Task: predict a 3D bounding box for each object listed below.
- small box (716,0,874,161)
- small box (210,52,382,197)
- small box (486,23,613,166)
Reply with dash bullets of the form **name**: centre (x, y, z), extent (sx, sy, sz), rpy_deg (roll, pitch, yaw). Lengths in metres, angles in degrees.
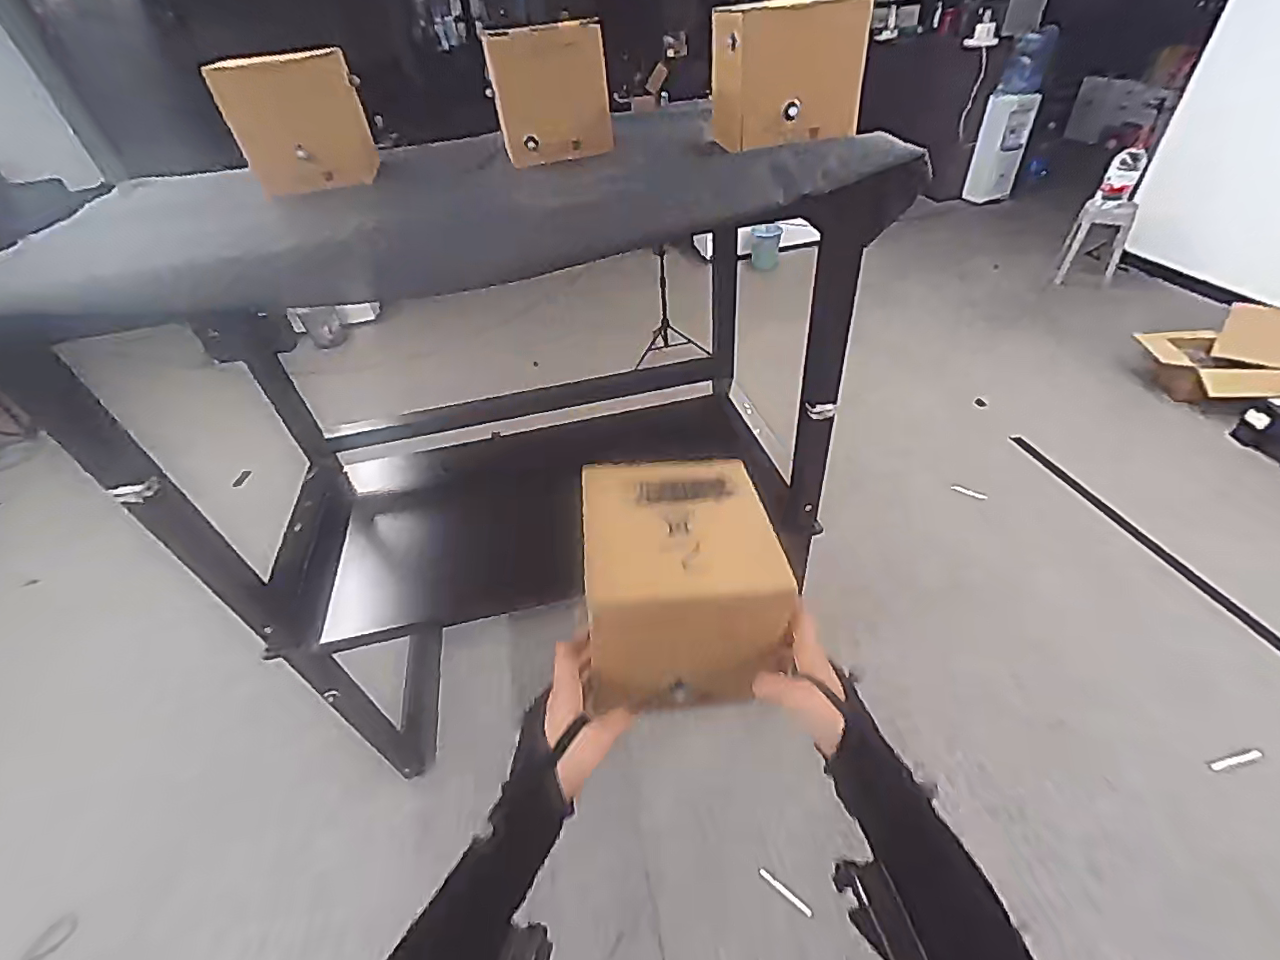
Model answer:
- **small box**: centre (0.208, -0.577, 0.785), extent (0.168, 0.176, 0.179), rpy_deg (-9, 42, -2)
- **small box**: centre (-0.535, -0.575, 0.875), extent (0.168, 0.176, 0.179), rpy_deg (-14, 43, -8)
- **small box**: centre (-0.146, -0.629, 0.888), extent (0.168, 0.176, 0.179), rpy_deg (-14, 41, -8)
